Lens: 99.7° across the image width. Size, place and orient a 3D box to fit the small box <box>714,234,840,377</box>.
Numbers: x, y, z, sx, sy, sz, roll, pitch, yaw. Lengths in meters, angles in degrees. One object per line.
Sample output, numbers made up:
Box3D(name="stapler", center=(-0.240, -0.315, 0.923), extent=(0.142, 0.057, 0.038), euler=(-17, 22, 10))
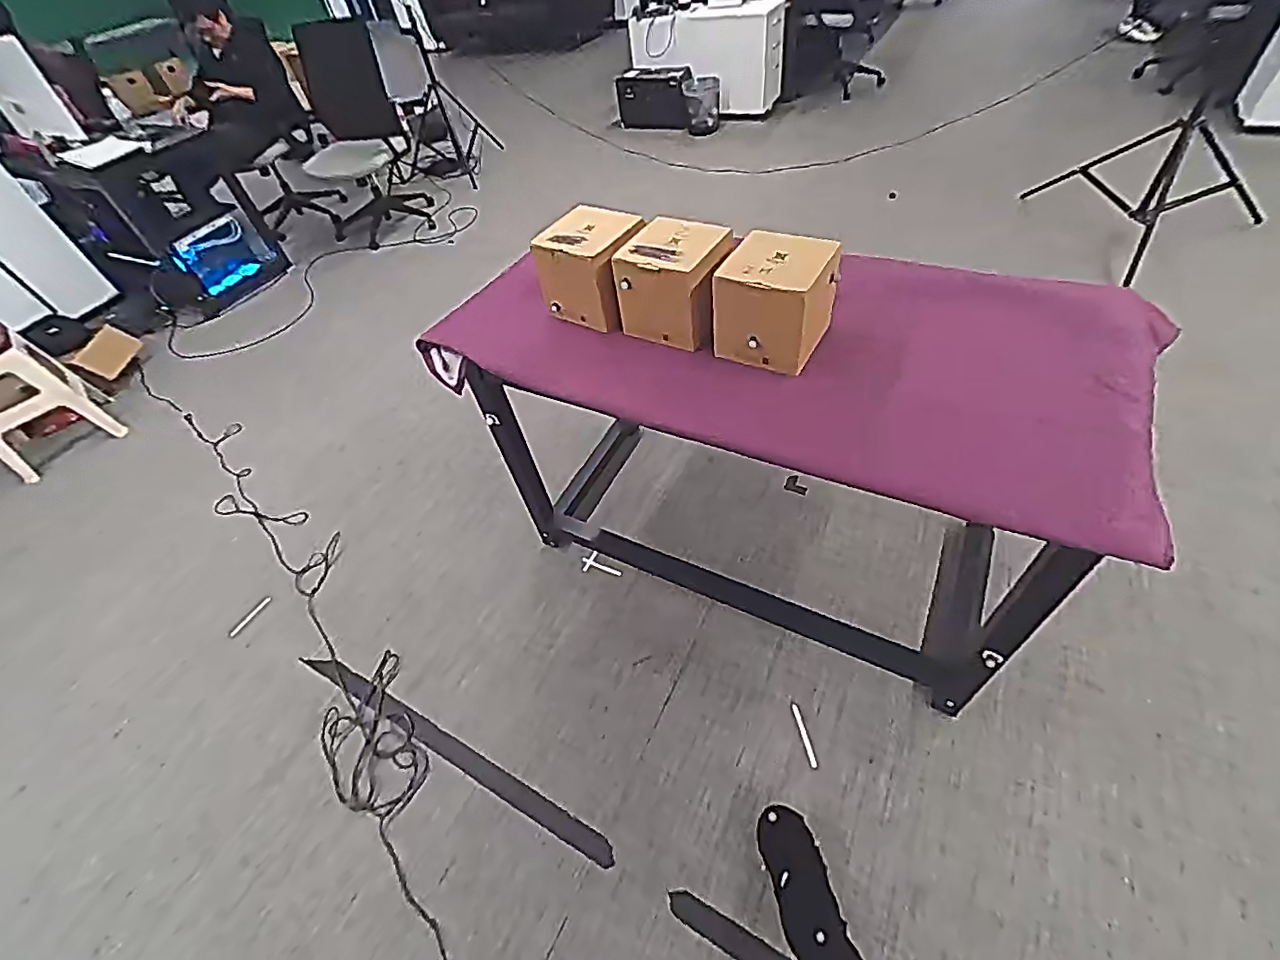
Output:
Box3D(name="small box", center=(0.244, -0.317, 0.982), extent=(0.168, 0.176, 0.179), euler=(20, 55, 26))
